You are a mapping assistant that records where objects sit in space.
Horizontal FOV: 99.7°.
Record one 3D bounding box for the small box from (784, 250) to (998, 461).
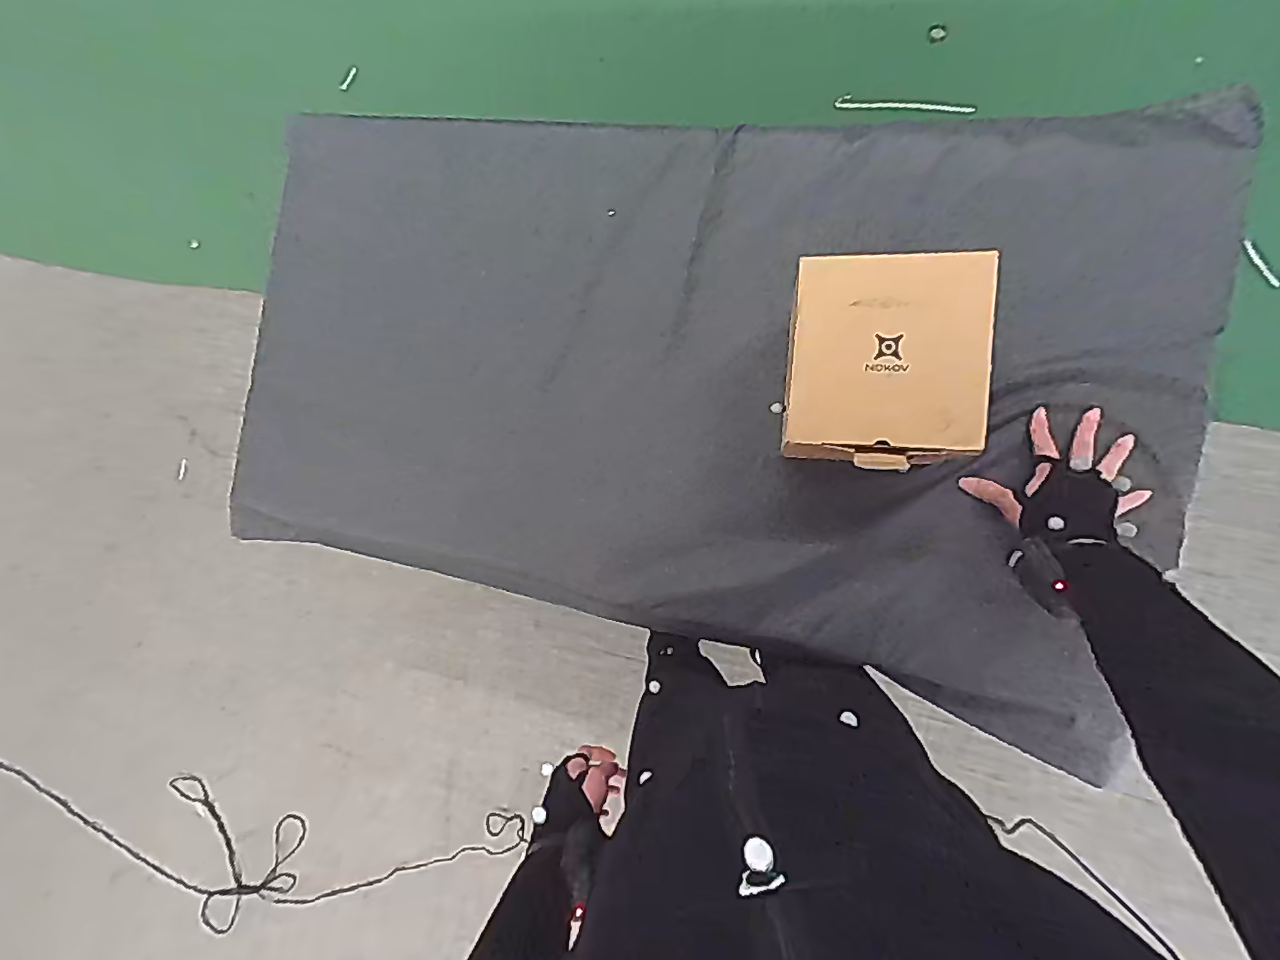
[{"bbox_3d":[0.240,-0.115,0.559,0.168,0.176,0.179,4,88,13],"label":"small box"}]
